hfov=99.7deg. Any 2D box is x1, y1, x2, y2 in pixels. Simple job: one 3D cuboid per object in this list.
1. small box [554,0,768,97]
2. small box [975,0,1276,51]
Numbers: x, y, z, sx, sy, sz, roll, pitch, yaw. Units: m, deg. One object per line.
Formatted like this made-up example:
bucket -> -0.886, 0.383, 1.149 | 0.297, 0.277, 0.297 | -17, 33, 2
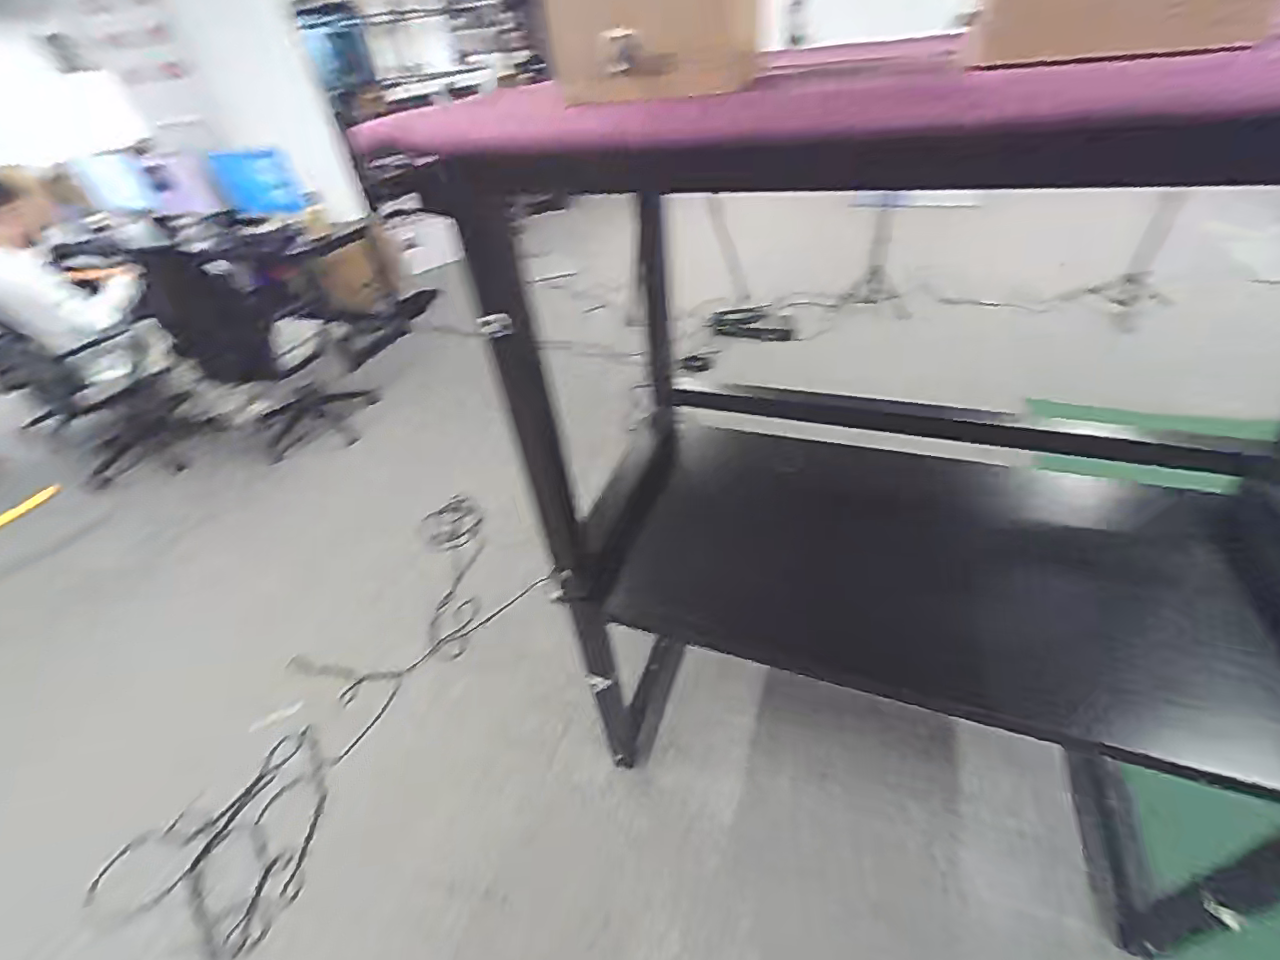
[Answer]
small box -> 0.023, -0.456, 0.481 | 0.168, 0.176, 0.179 | 7, 43, 18
small box -> 0.359, -0.422, 0.388 | 0.179, 0.176, 0.168 | 11, 42, 20
